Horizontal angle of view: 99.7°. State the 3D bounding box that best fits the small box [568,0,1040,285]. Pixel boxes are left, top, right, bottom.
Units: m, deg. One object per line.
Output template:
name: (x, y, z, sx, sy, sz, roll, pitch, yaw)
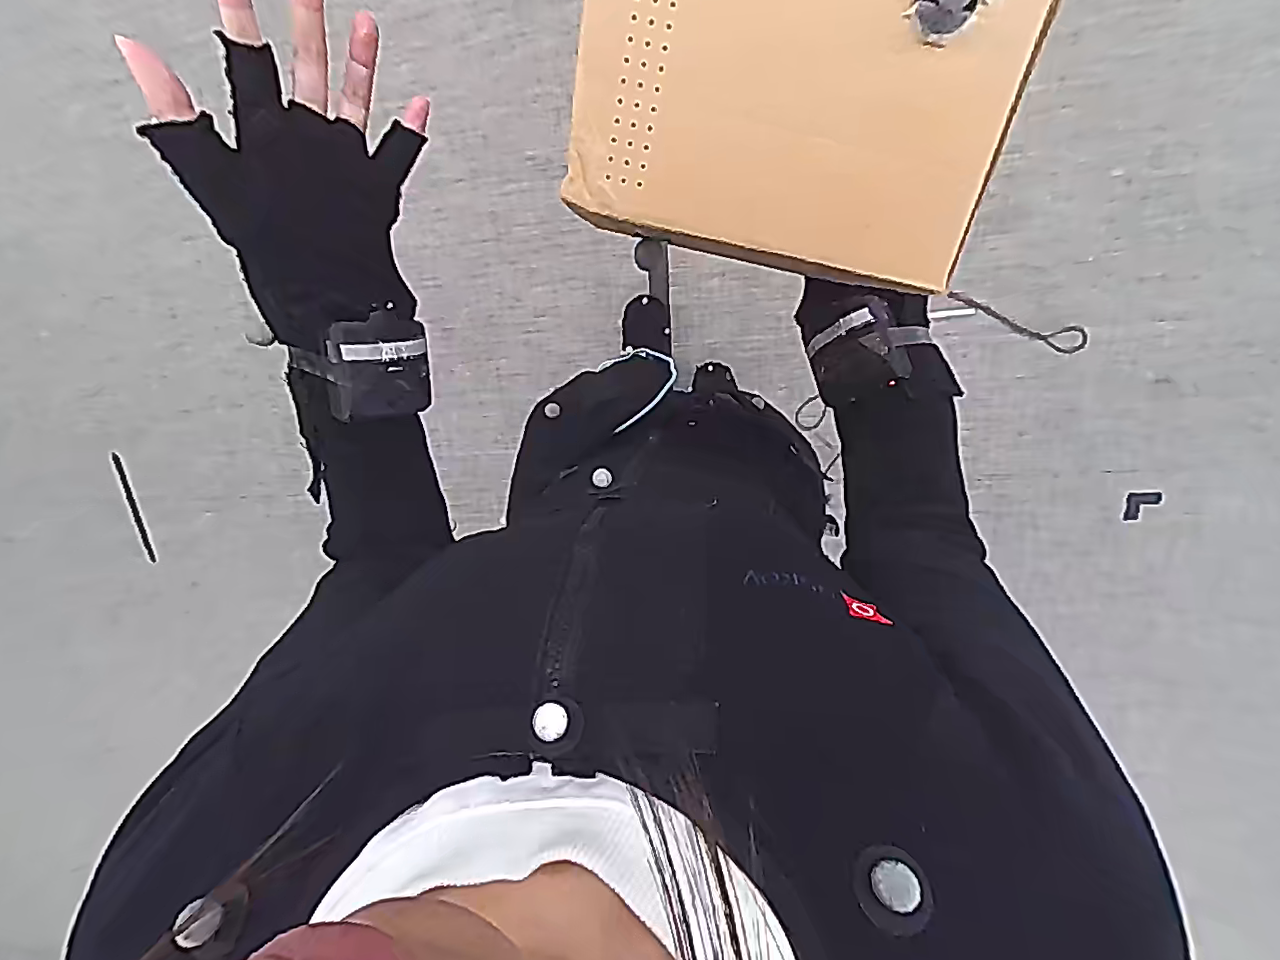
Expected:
small box: (0.063, -0.208, 0.275, 0.176, 0.168, 0.179, 12, 112, -3)
